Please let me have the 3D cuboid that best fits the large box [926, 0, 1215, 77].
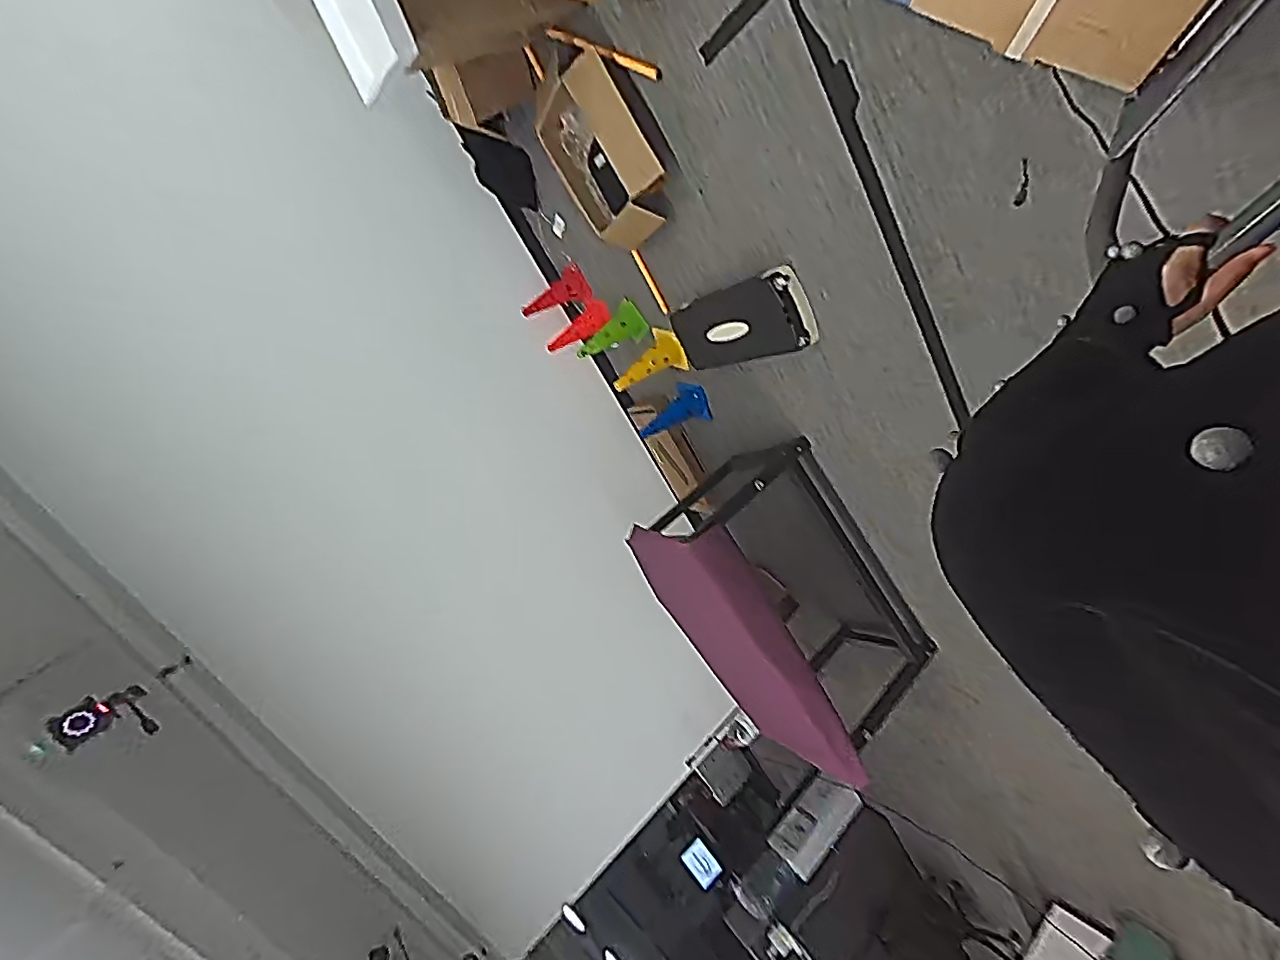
[{"bbox_3d":[0.608,-0.778,0.602,0.320,0.320,0.408,32,154,12],"label":"large box"}]
